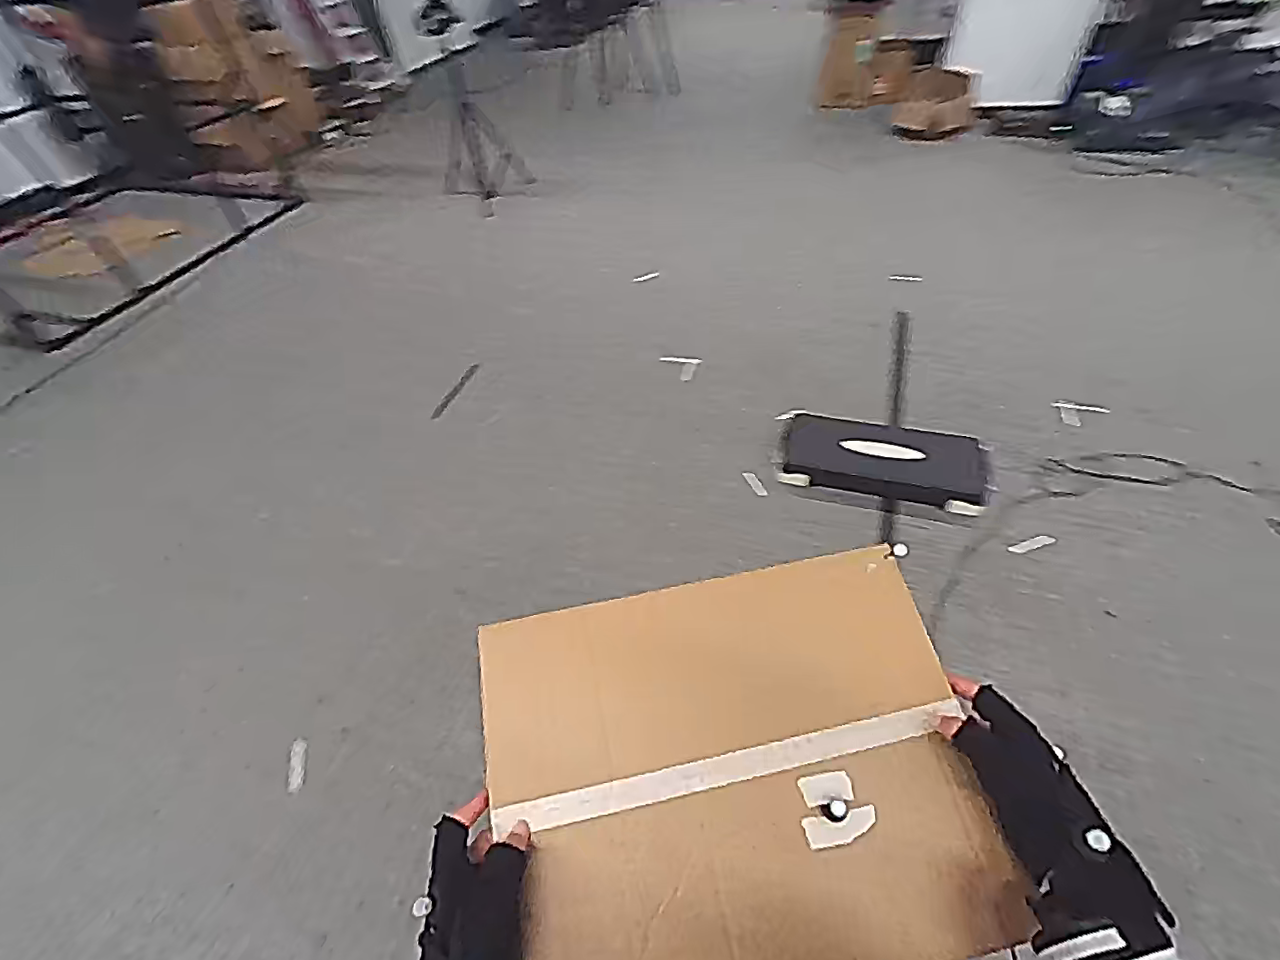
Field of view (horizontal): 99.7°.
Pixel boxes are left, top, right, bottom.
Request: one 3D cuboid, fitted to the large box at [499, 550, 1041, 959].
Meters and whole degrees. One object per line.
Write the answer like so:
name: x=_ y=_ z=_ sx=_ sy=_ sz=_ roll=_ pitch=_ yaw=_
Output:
large box: x=0.087 y=0.306 z=0.595 sx=0.408 sy=0.320 sz=0.320 roll=-10 pitch=64 yaw=-5
